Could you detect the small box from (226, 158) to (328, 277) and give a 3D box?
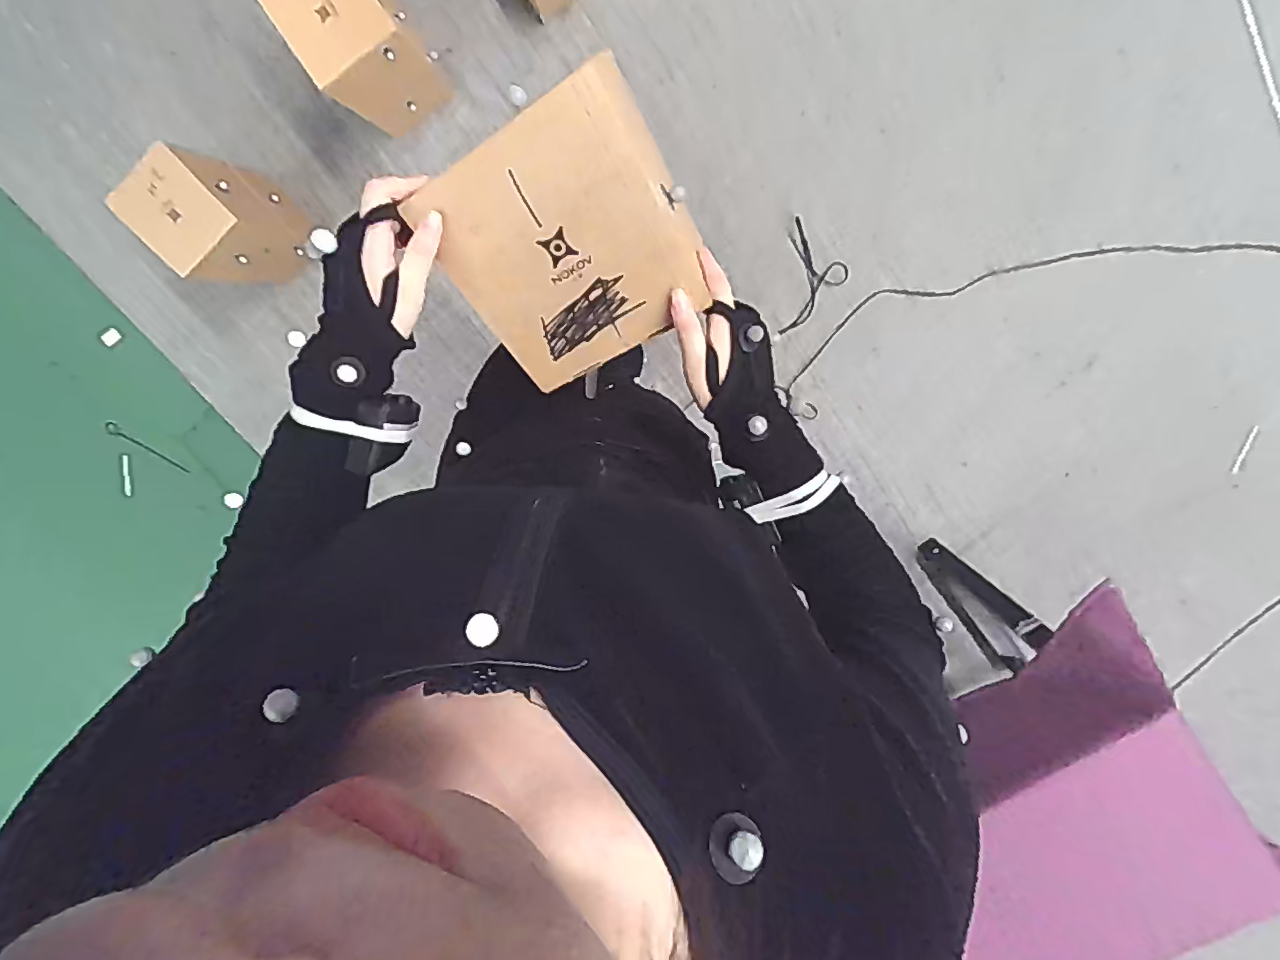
[{"bbox_3d":[-0.866,-0.588,1.238,0.168,0.176,0.179,-36,105,10],"label":"small box"}]

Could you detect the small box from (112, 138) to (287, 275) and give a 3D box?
[{"bbox_3d":[-0.864,-0.533,1.083,0.168,0.176,0.179,-37,105,10],"label":"small box"}]

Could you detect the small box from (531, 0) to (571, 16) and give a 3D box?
[{"bbox_3d":[-0.184,-1.082,1.076,0.168,0.176,0.179,-32,106,9],"label":"small box"}]

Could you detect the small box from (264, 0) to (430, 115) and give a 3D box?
[{"bbox_3d":[-0.523,-0.817,0.990,0.179,0.176,0.168,-30,106,9],"label":"small box"}]

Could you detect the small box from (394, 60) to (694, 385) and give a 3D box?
[{"bbox_3d":[-0.062,-0.221,0.467,0.168,0.176,0.179,-22,126,21],"label":"small box"}]
